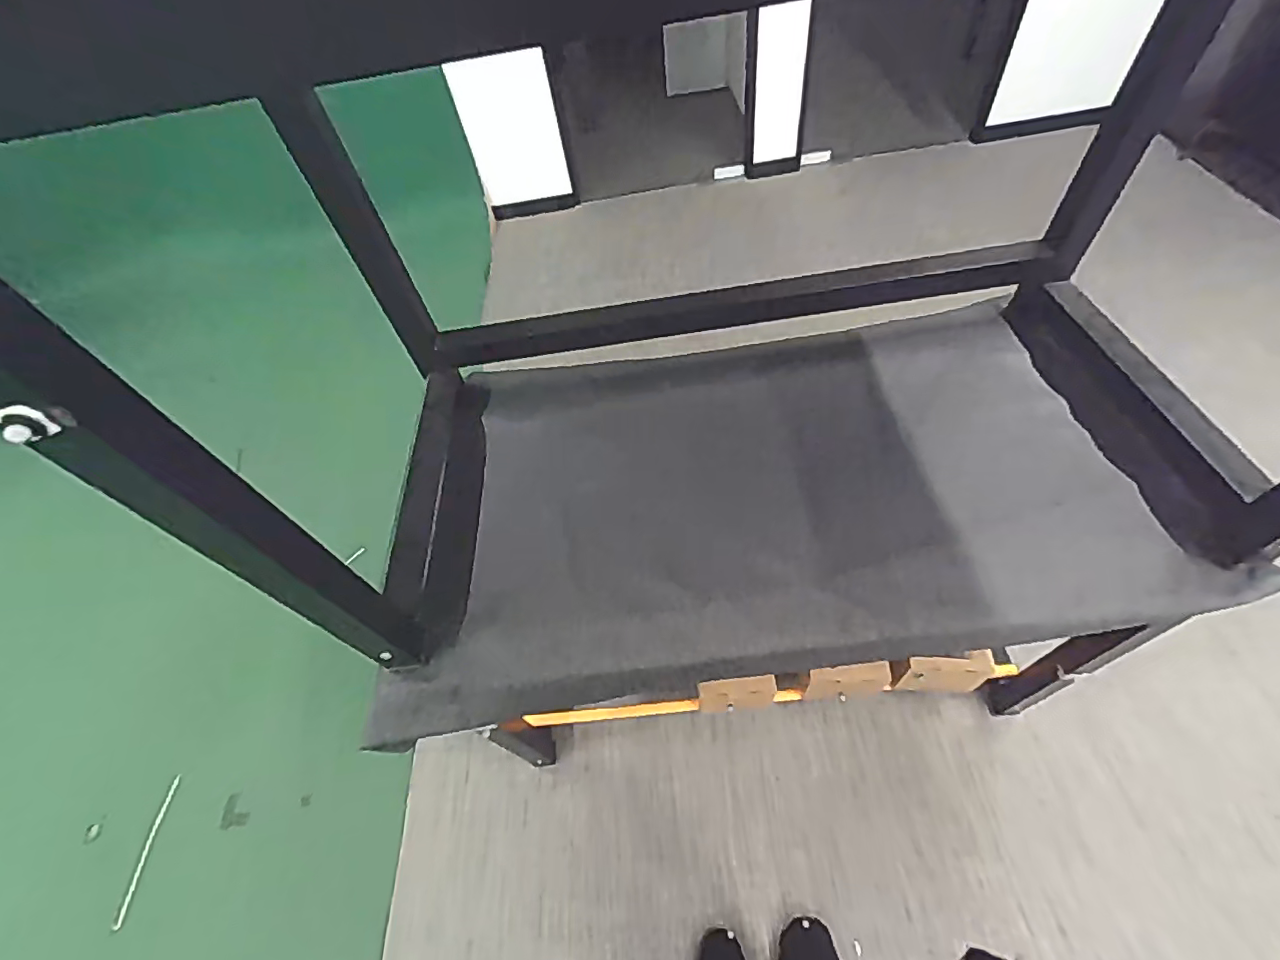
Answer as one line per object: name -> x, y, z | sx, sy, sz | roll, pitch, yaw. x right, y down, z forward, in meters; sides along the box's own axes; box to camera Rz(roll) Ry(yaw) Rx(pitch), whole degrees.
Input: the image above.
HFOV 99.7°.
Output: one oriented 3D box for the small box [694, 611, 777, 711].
small box -> 0.213, 0.421, 1.251 | 0.168, 0.176, 0.179 | -6, 56, 4
